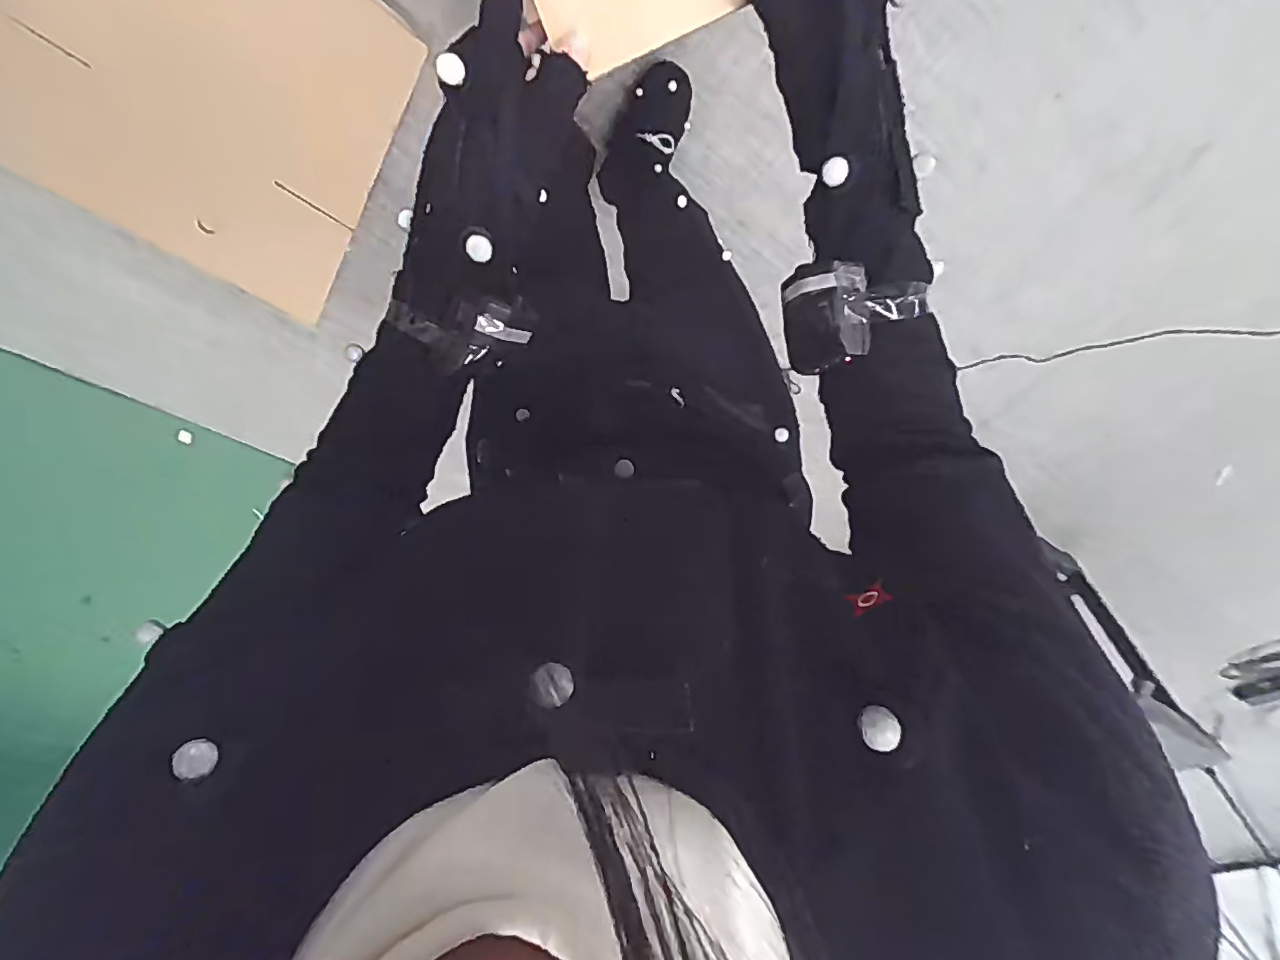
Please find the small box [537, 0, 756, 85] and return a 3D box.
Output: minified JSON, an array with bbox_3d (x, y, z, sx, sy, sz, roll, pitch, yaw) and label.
[{"bbox_3d":[-0.006,-0.383,0.325,0.168,0.176,0.179,-18,135,11],"label":"small box"}]
